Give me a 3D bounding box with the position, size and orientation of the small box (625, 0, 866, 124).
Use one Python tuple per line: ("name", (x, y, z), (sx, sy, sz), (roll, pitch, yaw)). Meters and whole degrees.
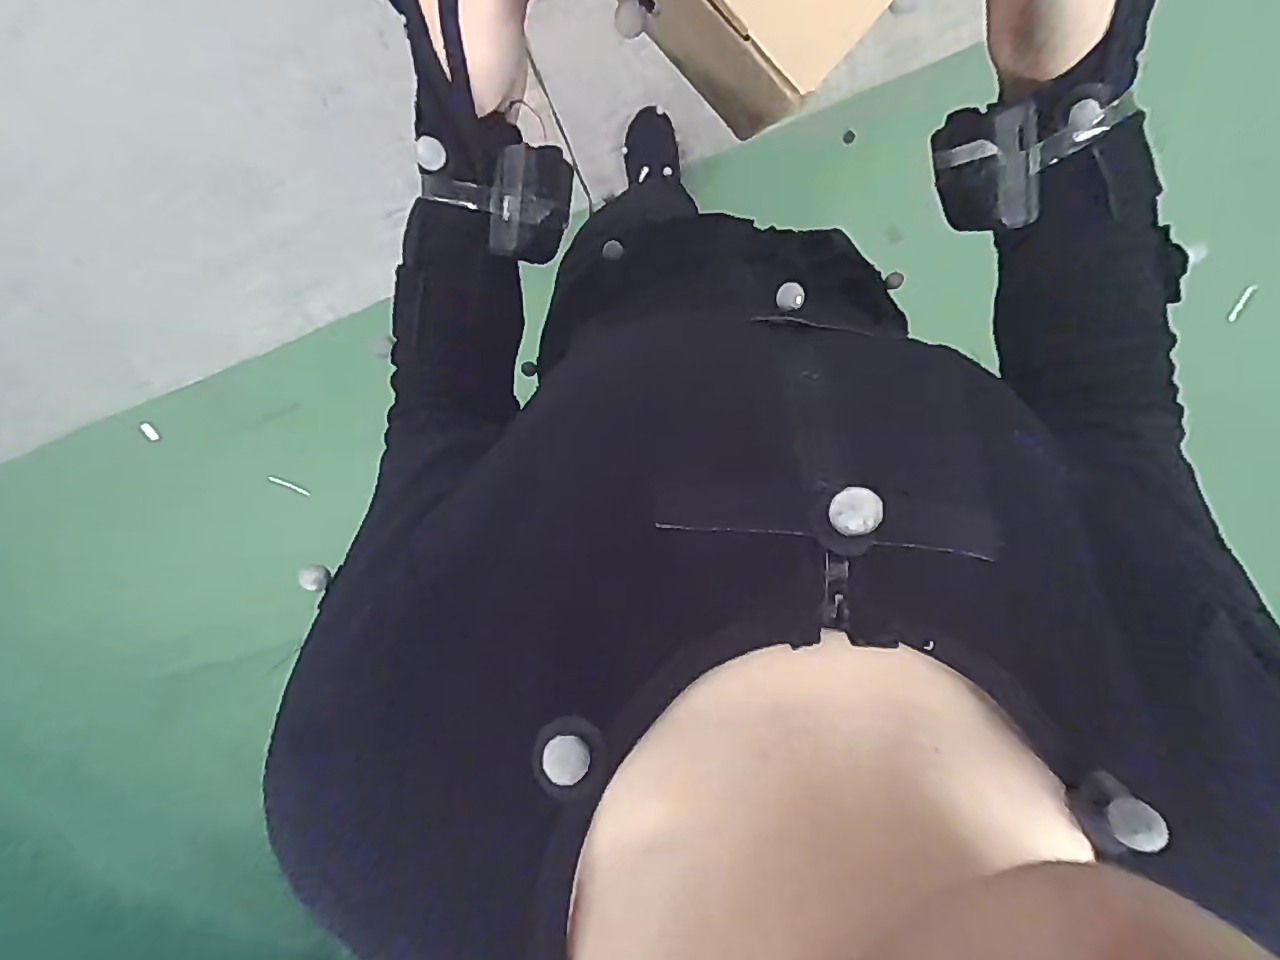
("small box", (0.056, -0.287, 0.224), (0.168, 0.176, 0.179), (39, 114, -16))
